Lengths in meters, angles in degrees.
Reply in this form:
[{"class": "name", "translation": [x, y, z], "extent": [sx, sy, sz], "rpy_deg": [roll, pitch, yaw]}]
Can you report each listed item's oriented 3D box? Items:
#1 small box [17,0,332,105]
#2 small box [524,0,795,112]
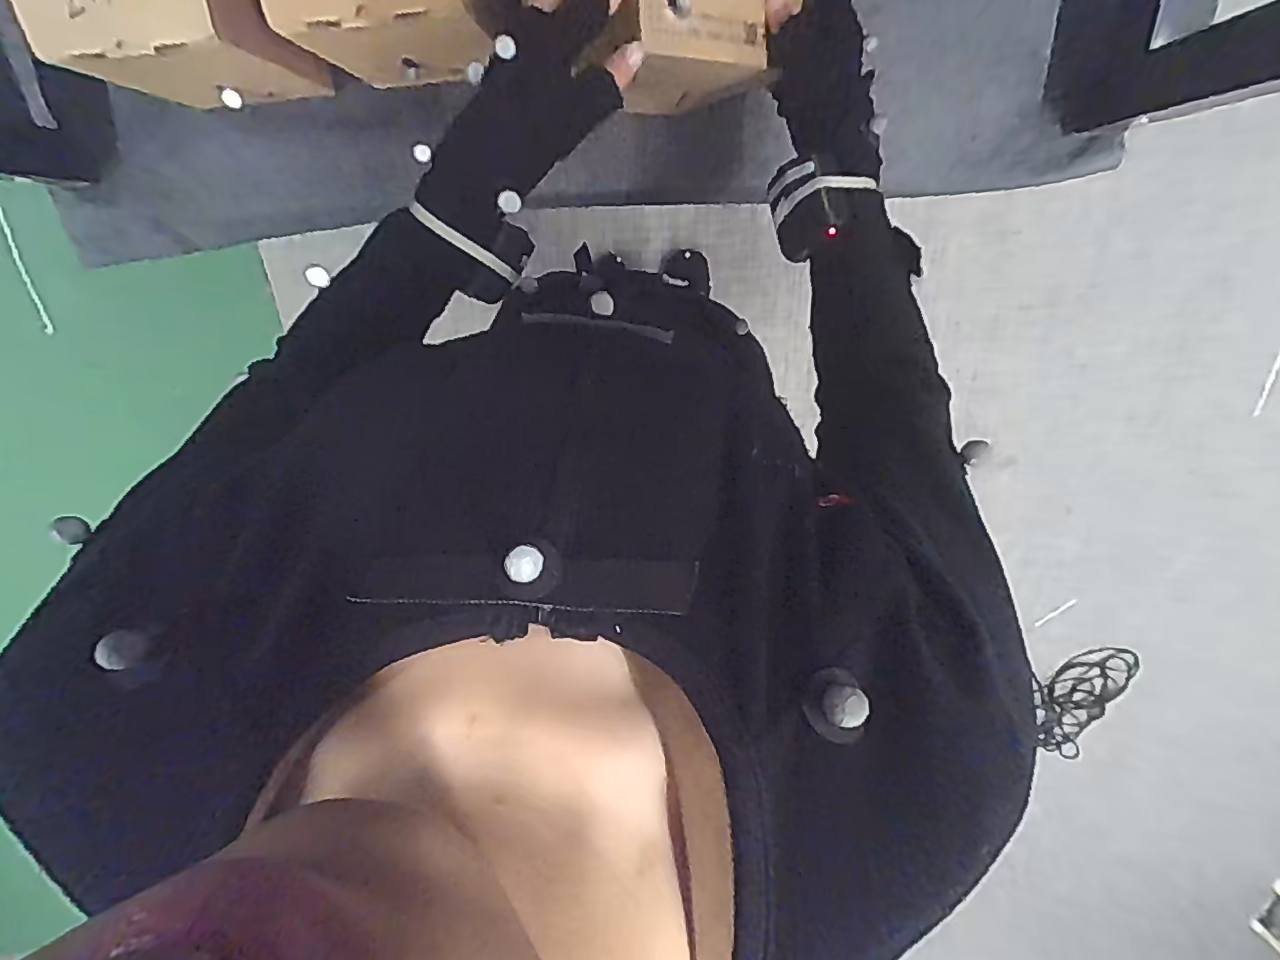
[{"class": "small box", "translation": [-0.420, -0.467, 0.487], "extent": [0.168, 0.176, 0.179], "rpy_deg": [-3, 113, 4]}, {"class": "small box", "translation": [0.013, -0.417, 0.442], "extent": [0.168, 0.179, 0.176], "rpy_deg": [-20, 118, -32]}]
